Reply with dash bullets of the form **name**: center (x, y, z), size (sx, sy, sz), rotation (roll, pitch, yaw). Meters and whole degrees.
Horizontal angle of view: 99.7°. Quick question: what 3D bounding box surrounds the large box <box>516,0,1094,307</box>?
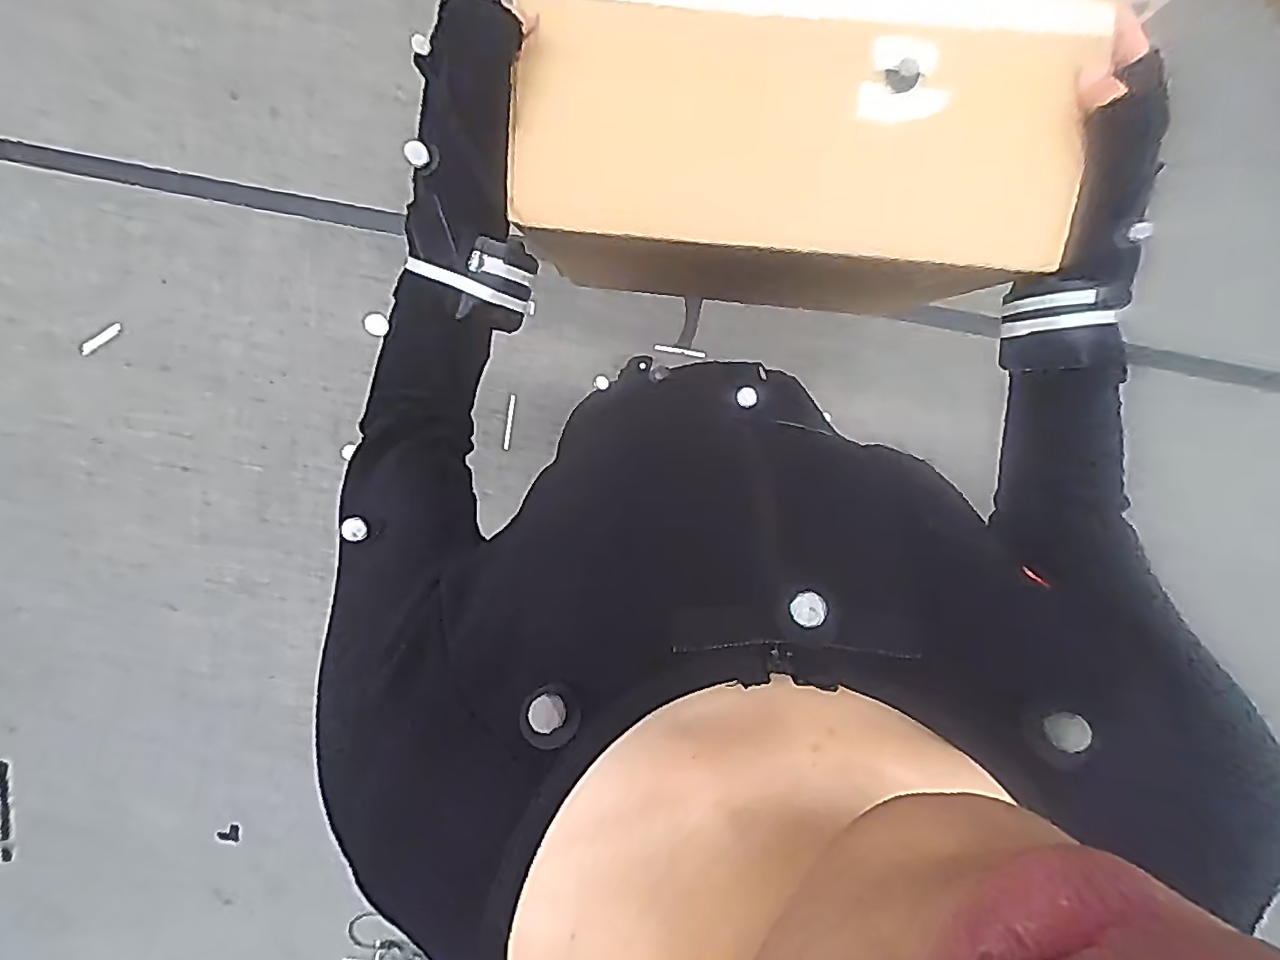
- **large box**: center (0.115, -0.358, 0.524), size (0.408, 0.320, 0.320), rotation (5, 101, 0)
